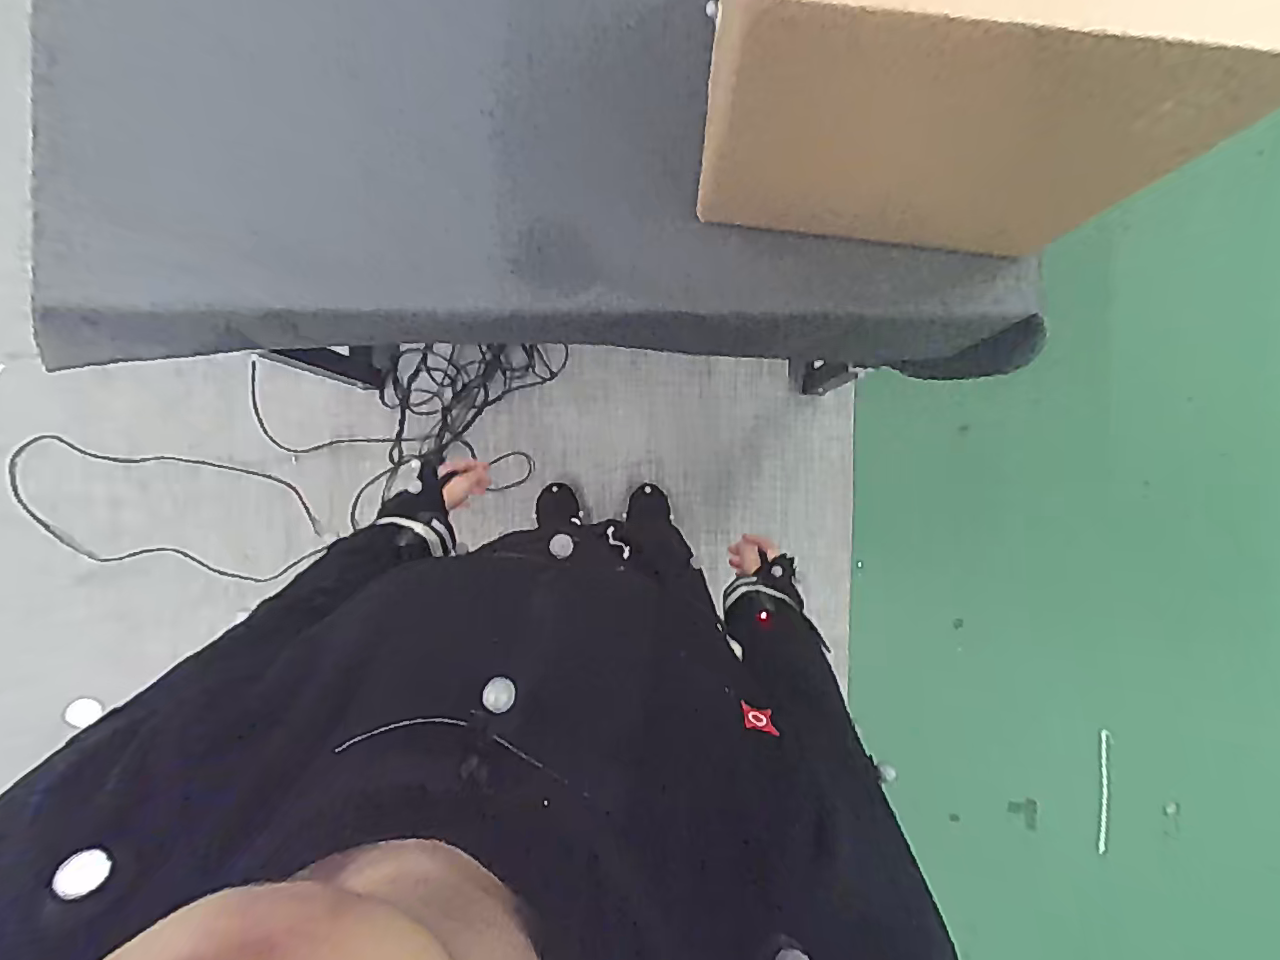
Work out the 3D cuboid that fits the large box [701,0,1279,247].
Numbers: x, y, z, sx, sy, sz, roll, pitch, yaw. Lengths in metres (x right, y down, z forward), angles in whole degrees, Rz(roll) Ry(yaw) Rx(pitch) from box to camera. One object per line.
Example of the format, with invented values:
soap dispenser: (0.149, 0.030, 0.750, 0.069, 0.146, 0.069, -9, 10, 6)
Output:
large box: (0.283, -0.446, 0.502, 0.408, 0.320, 0.320, 6, 90, -1)
